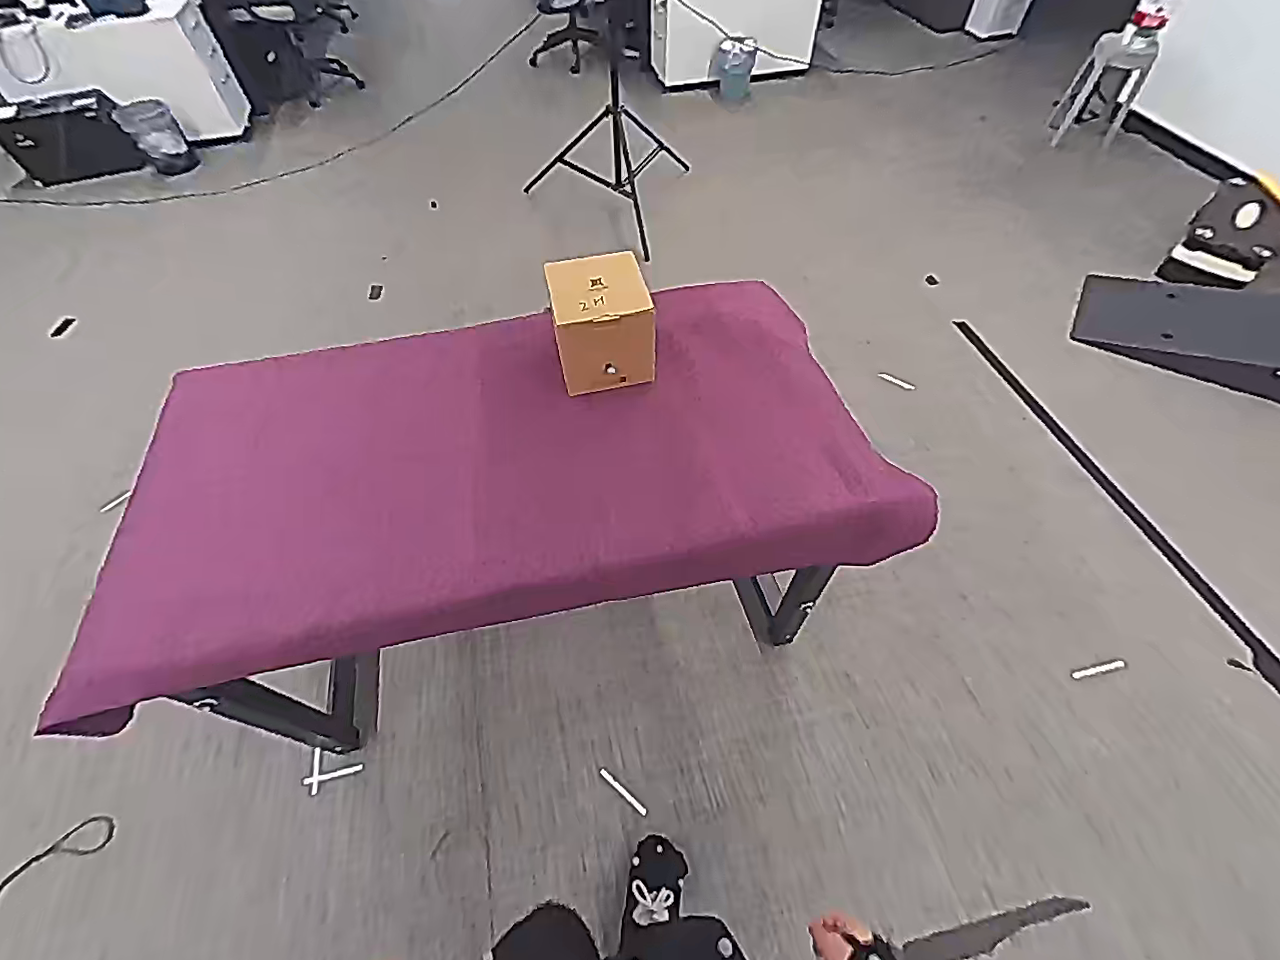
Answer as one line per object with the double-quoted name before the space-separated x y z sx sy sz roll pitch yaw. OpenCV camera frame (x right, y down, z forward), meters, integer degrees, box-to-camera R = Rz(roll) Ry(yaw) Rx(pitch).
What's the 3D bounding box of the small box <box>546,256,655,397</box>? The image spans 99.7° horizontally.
"small box" -0.072 -0.281 0.998 0.168 0.176 0.179 -12 56 -6
